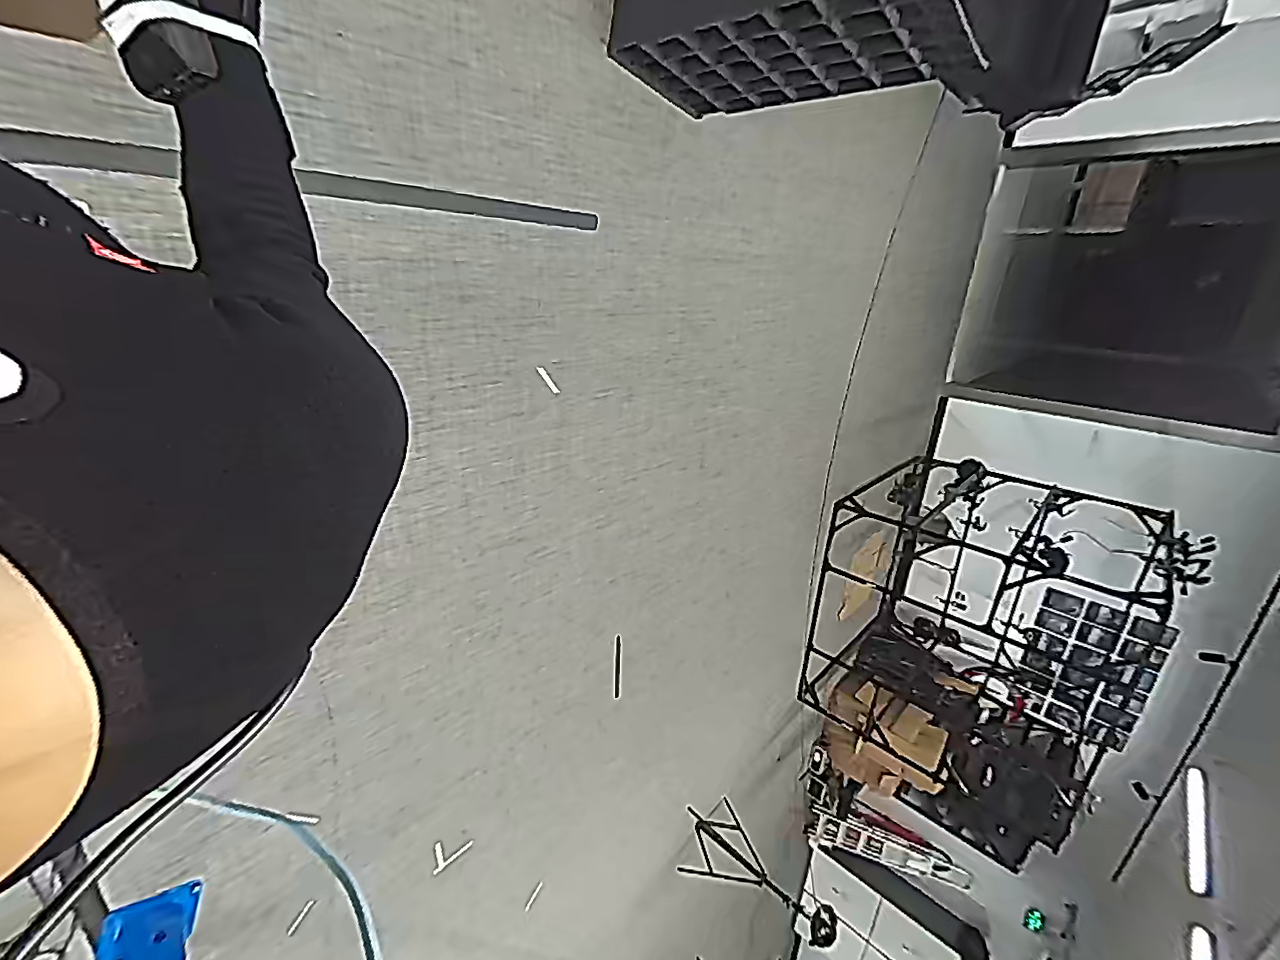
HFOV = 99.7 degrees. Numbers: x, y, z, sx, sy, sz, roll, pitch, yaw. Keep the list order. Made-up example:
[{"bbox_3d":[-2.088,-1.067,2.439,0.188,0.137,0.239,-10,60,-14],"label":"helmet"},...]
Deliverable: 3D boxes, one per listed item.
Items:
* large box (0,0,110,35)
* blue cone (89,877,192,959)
[{"bbox_3d":[-0.568,-0.478,0.254,0.408,0.320,0.320,-23,126,-45],"label":"large box"},{"bbox_3d":[-1.188,1.208,1.318,0.193,0.380,0.192,12,97,-52],"label":"blue cone"}]
